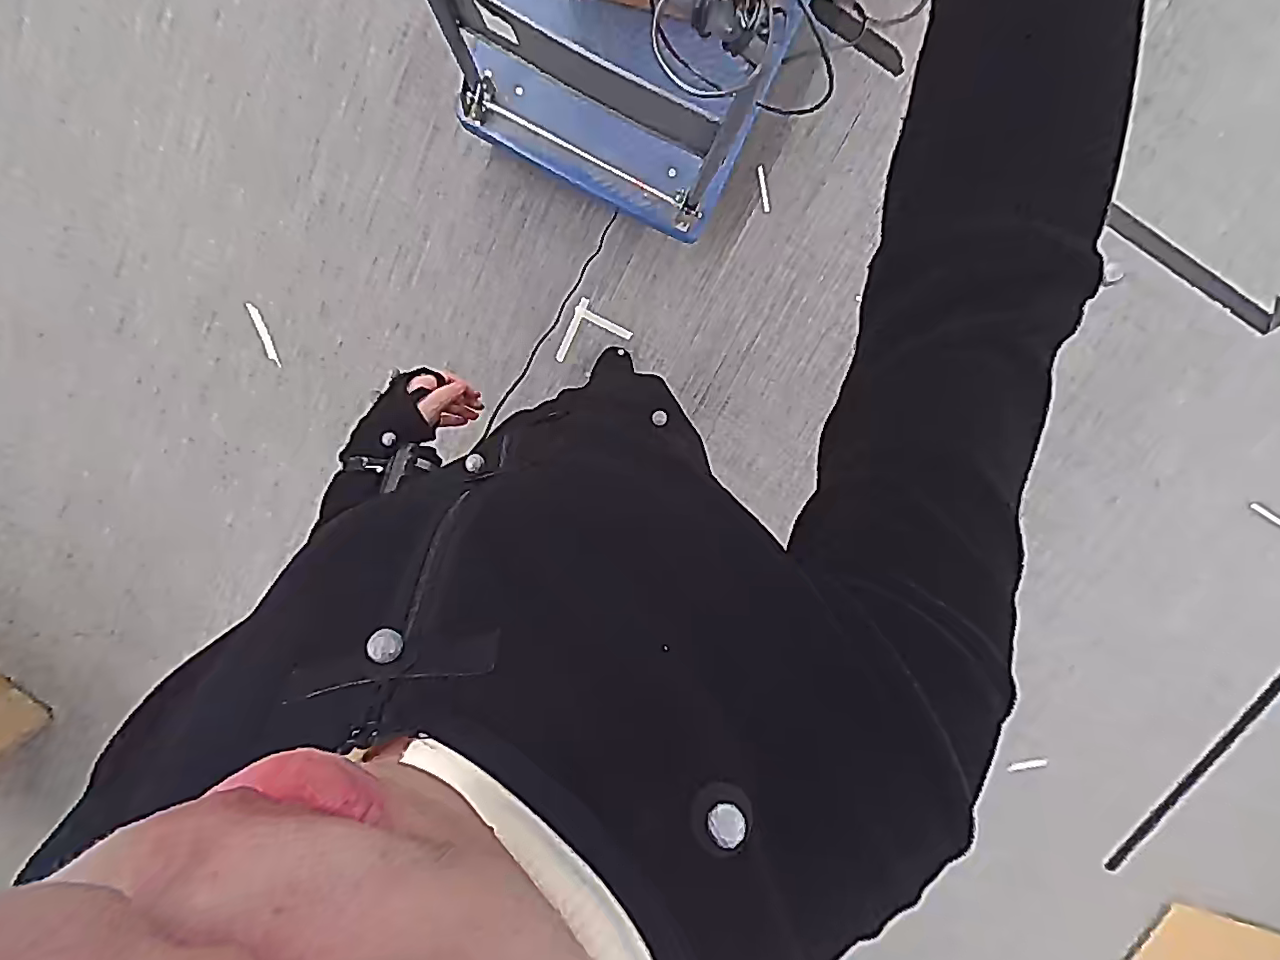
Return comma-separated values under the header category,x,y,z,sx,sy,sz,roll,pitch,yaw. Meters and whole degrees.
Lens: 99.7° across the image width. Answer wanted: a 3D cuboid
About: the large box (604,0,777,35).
category,x,y,z,sx,sy,sz,roll,pitch,yaw
large box,0.083,-1.042,0.906,0.408,0.320,0.320,10,104,-5
